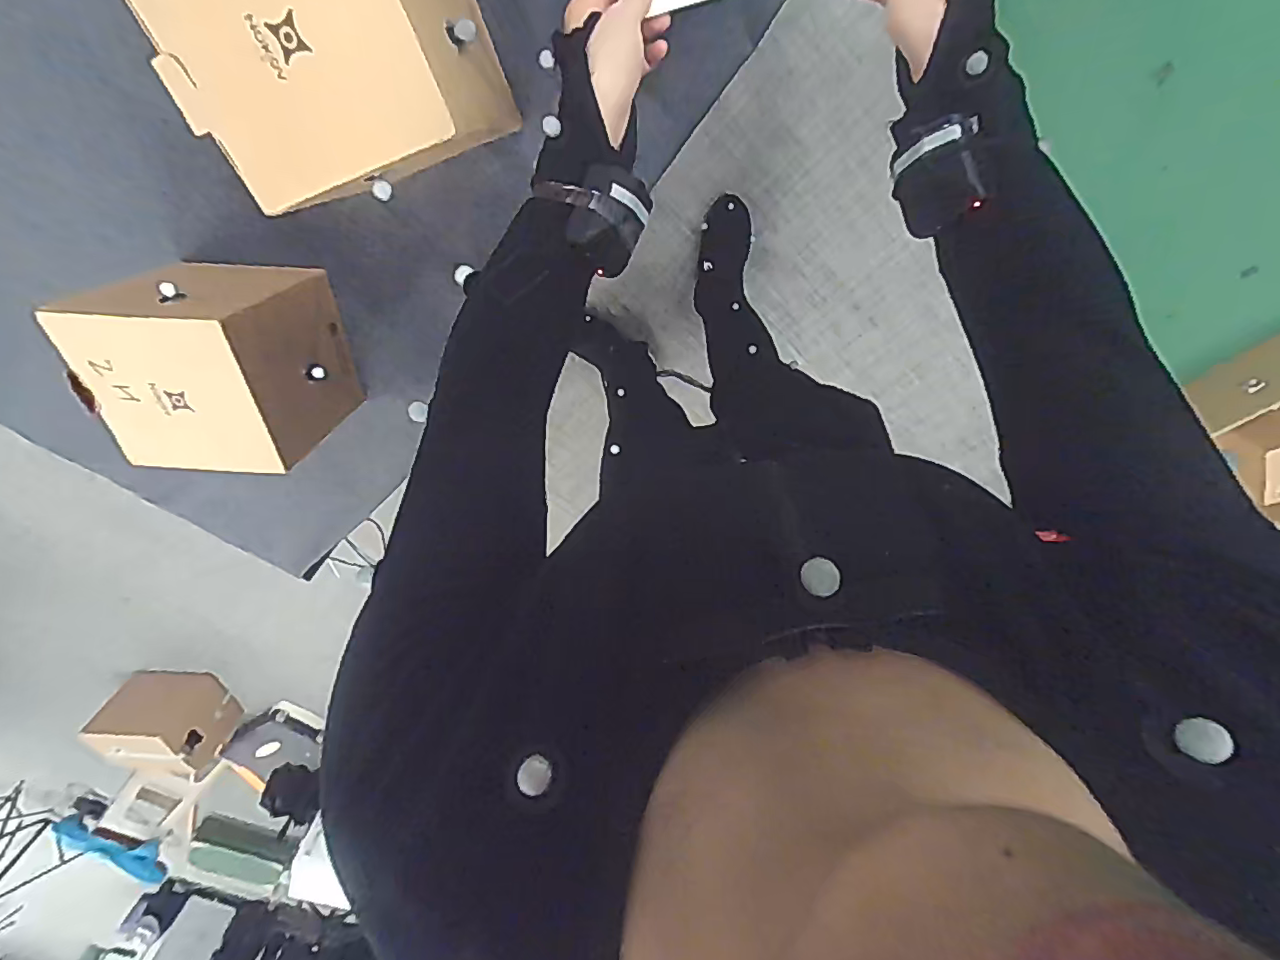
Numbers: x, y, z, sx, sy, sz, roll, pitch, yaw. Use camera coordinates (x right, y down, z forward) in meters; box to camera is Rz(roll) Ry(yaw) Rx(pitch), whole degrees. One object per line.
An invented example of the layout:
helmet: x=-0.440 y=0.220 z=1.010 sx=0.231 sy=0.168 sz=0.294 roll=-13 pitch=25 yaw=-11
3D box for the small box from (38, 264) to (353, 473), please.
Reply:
small box: x=-0.441 y=-0.125 z=0.582 sx=0.179 sy=0.176 sz=0.168 roll=4 pitch=126 yaw=3

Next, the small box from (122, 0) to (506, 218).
small box: x=-0.220 y=-0.327 z=0.410 sx=0.179 sy=0.176 sz=0.168 roll=-12 pitch=124 yaw=16

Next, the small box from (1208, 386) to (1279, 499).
small box: x=1.488 y=-0.091 z=1.263 sx=0.168 sy=0.176 sz=0.179 roll=-24 pitch=122 yaw=22
